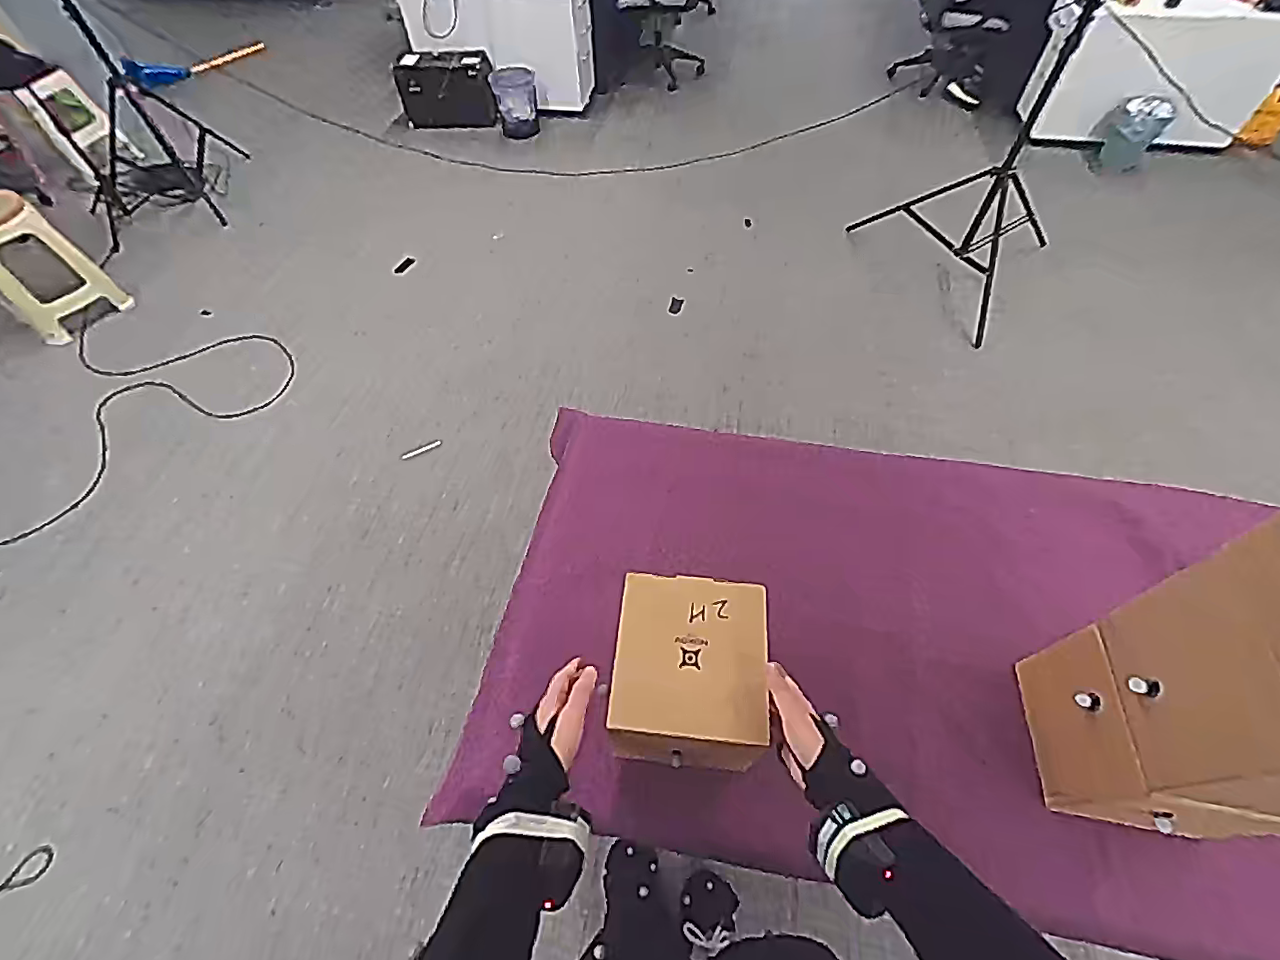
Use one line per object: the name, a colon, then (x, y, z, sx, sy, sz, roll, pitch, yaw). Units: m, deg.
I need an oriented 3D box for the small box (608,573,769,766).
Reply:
small box: (0.059, 0.232, 0.650, 0.168, 0.176, 0.179, 3, 53, 4)

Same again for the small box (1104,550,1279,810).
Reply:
small box: (0.572, 0.188, 0.479, 0.168, 0.176, 0.179, 8, 55, 7)

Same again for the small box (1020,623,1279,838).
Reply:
small box: (0.573, 0.286, 0.610, 0.168, 0.176, 0.179, 8, 55, 7)
